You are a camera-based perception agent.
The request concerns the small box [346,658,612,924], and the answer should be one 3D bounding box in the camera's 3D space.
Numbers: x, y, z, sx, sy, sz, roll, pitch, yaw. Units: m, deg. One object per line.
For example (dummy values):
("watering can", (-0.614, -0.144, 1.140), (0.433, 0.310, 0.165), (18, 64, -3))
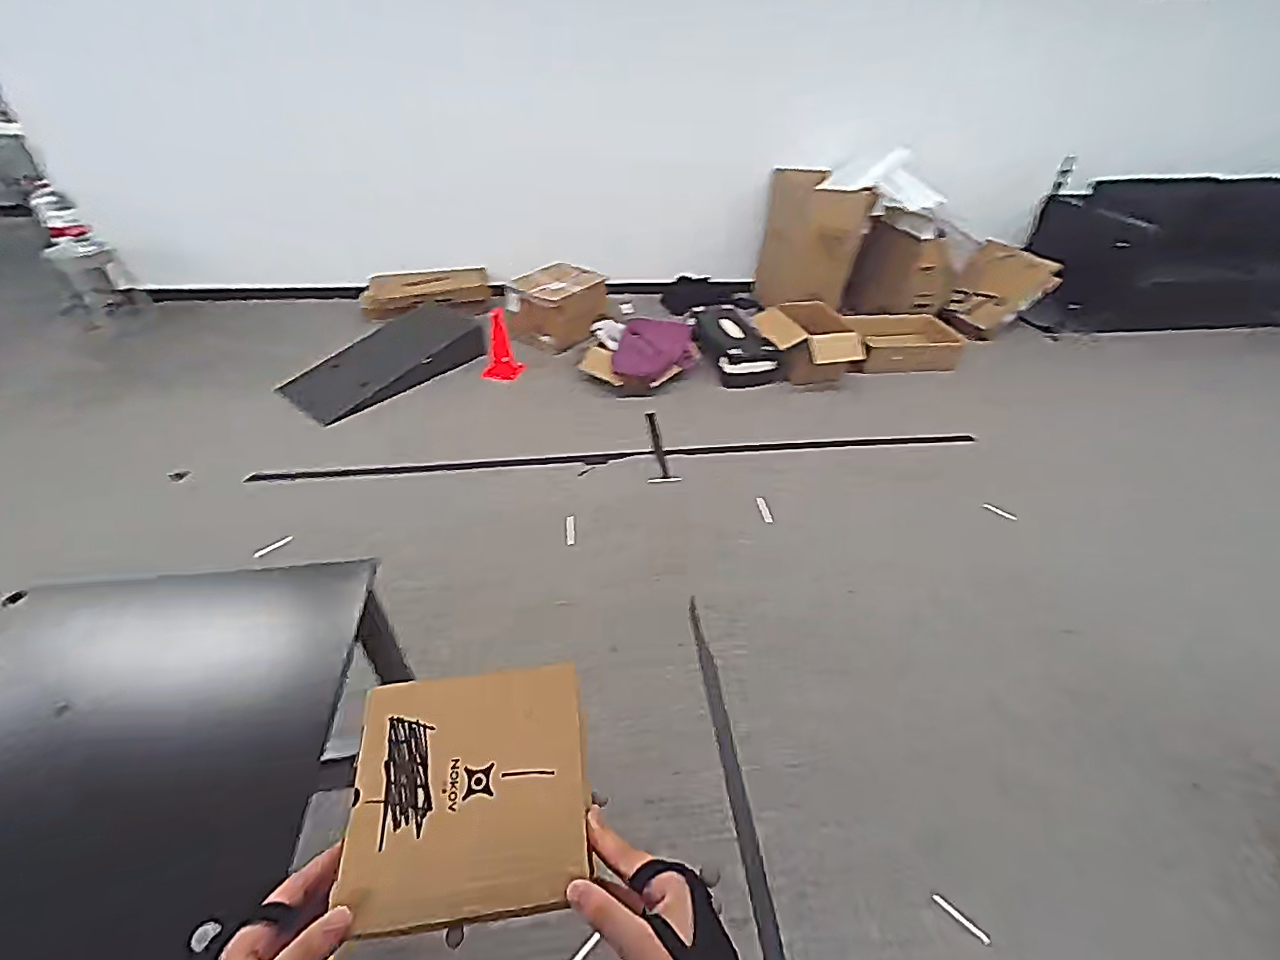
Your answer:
("small box", (-0.121, 0.277, 0.479), (0.179, 0.176, 0.168), (-5, 51, -5))
